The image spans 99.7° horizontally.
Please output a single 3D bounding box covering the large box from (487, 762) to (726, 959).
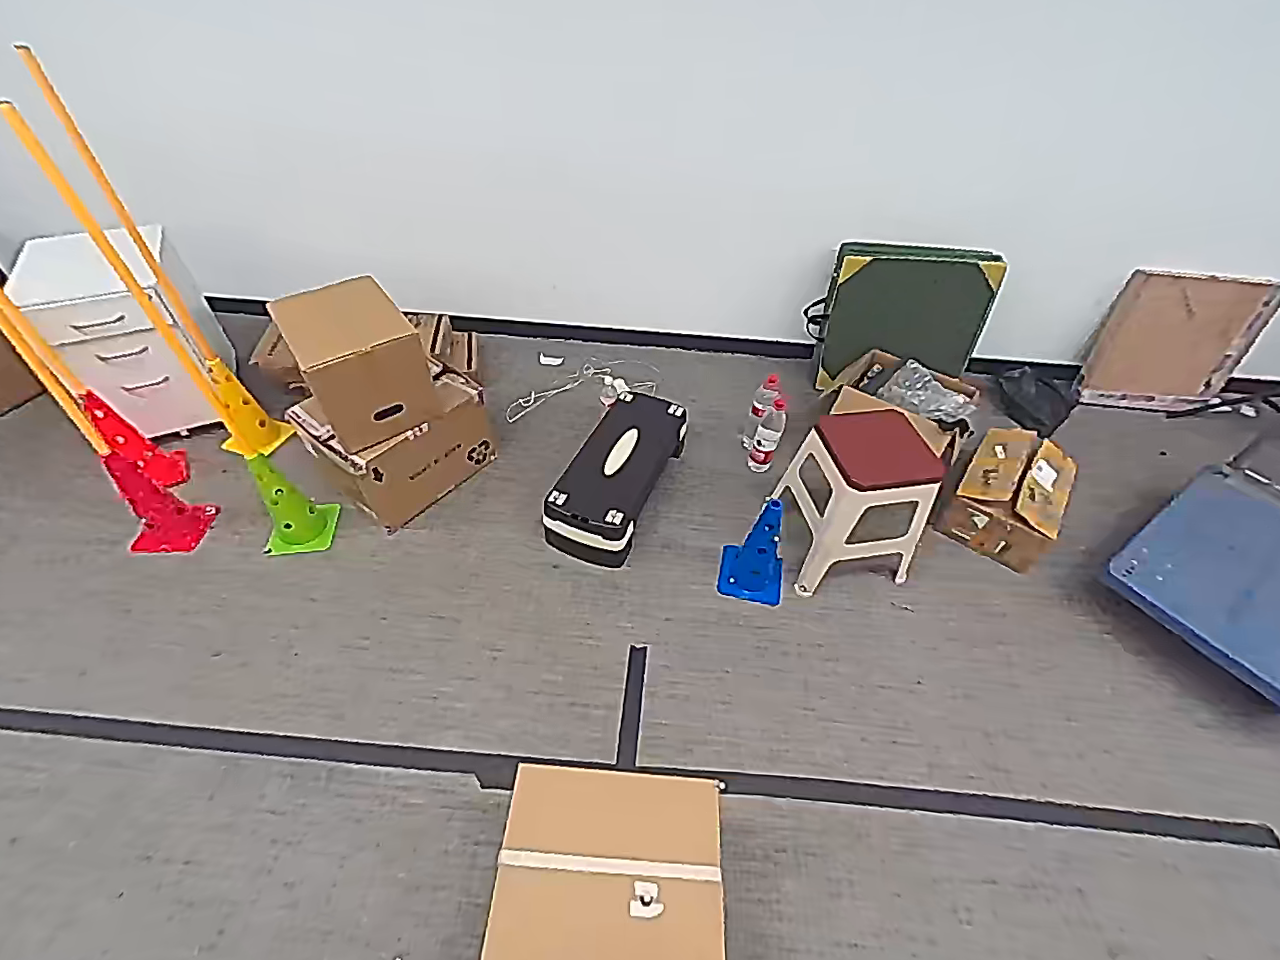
[{"bbox_3d":[-0.059,0.795,1.090,0.408,0.320,0.320,5,47,0],"label":"large box"}]
